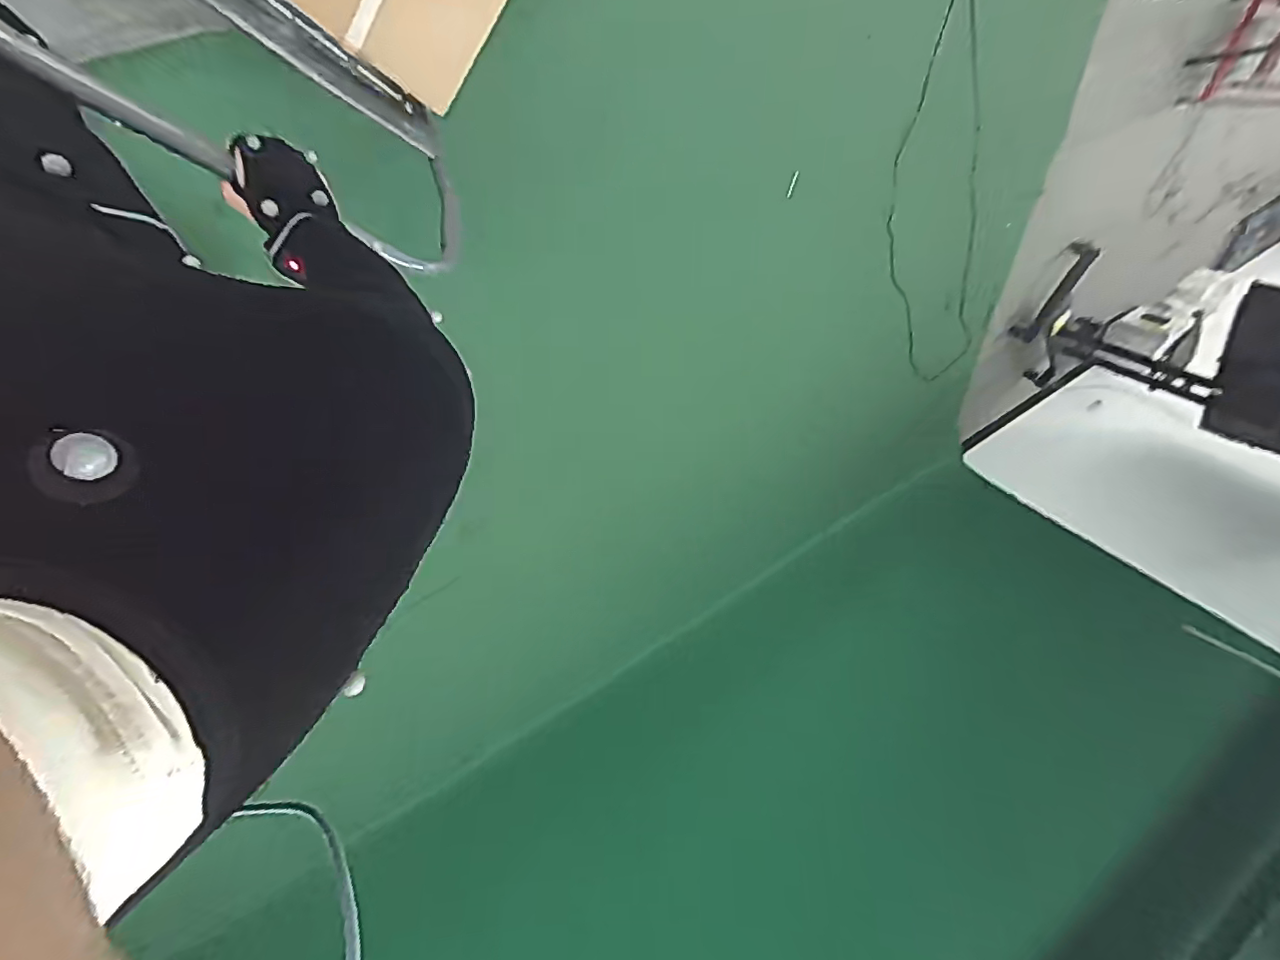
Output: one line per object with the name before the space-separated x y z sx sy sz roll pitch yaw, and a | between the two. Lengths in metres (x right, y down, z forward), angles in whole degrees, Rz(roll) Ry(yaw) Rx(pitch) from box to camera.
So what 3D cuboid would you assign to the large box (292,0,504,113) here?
large box | -0.372 -0.897 0.837 0.320 0.320 0.408 20 121 -46
